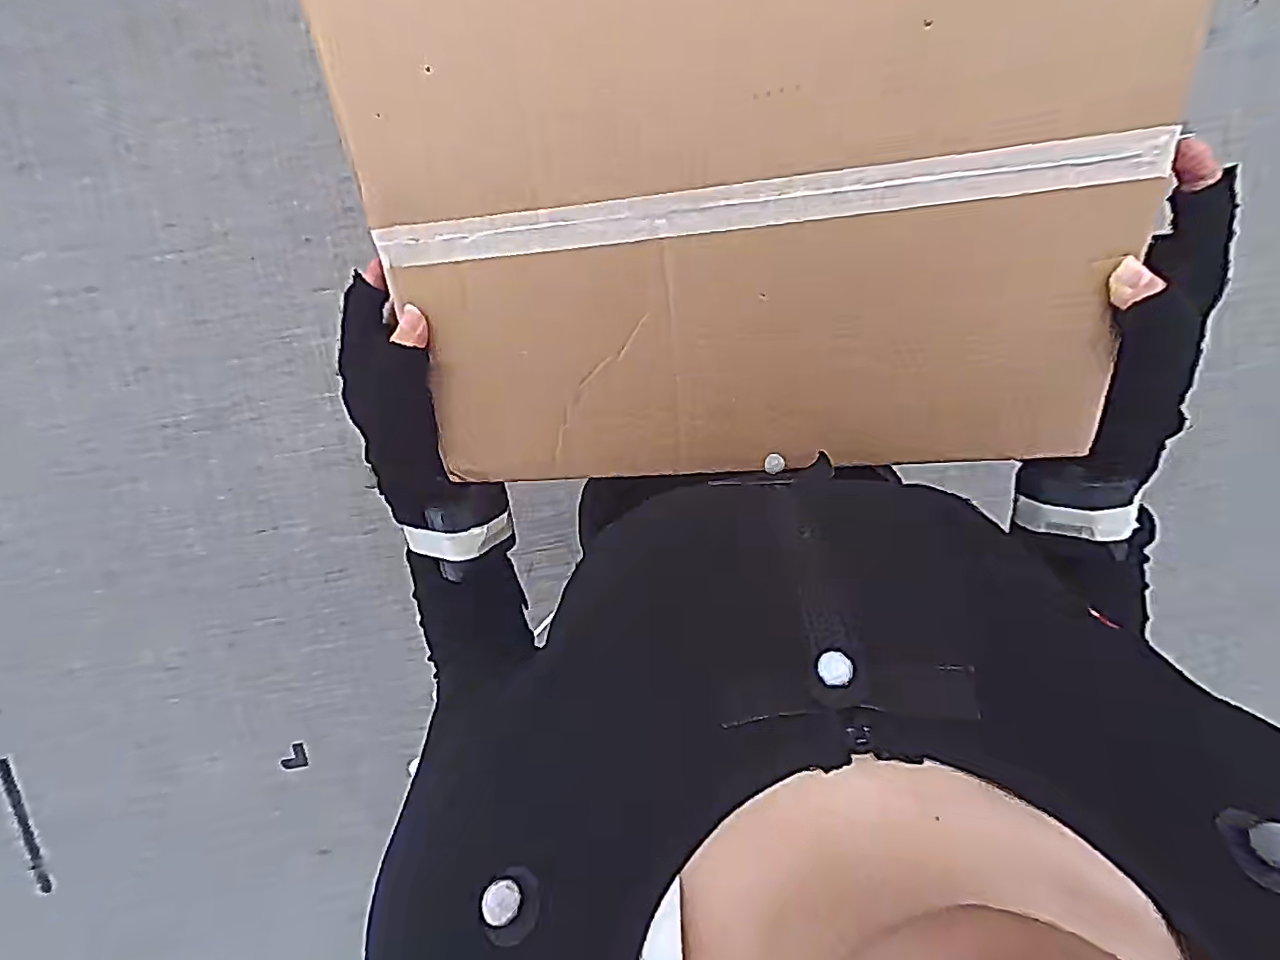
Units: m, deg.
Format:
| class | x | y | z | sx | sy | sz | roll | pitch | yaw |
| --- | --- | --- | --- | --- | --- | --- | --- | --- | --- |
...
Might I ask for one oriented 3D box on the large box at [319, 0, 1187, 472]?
| class | x | y | z | sx | sy | sz | roll | pitch | yaw |
| --- | --- | --- | --- | --- | --- | --- | --- | --- | --- |
| large box | 0.067 | -0.220 | 0.421 | 0.408 | 0.320 | 0.320 | -2 | 117 | 9 |
